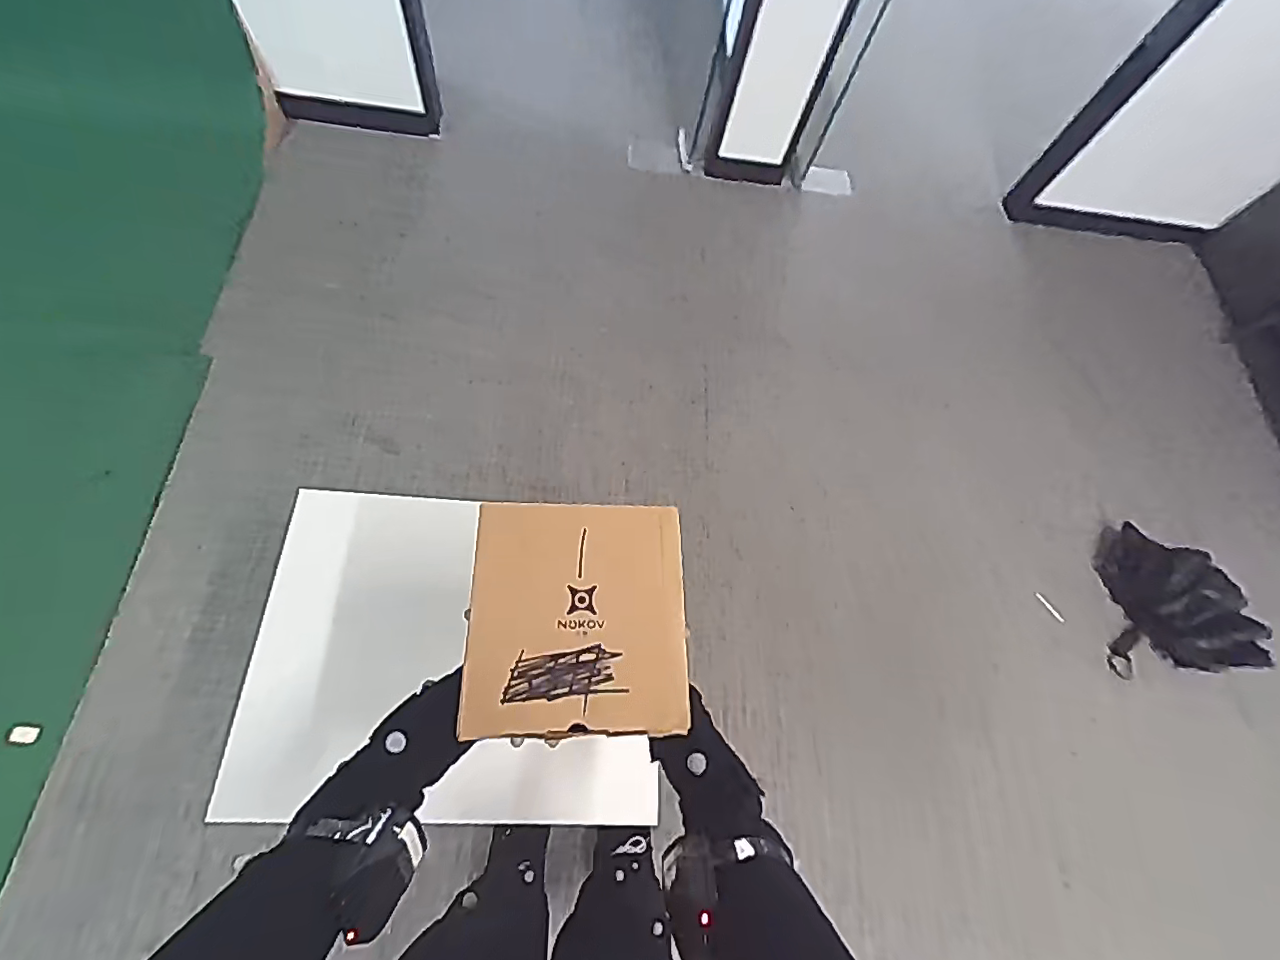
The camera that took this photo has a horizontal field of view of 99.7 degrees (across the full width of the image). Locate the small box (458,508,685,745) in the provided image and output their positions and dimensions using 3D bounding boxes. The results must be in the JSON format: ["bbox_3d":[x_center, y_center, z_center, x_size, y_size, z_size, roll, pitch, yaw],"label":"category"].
[{"bbox_3d":[-0.057,0.135,0.490,0.168,0.176,0.179,1,67,-7],"label":"small box"}]
